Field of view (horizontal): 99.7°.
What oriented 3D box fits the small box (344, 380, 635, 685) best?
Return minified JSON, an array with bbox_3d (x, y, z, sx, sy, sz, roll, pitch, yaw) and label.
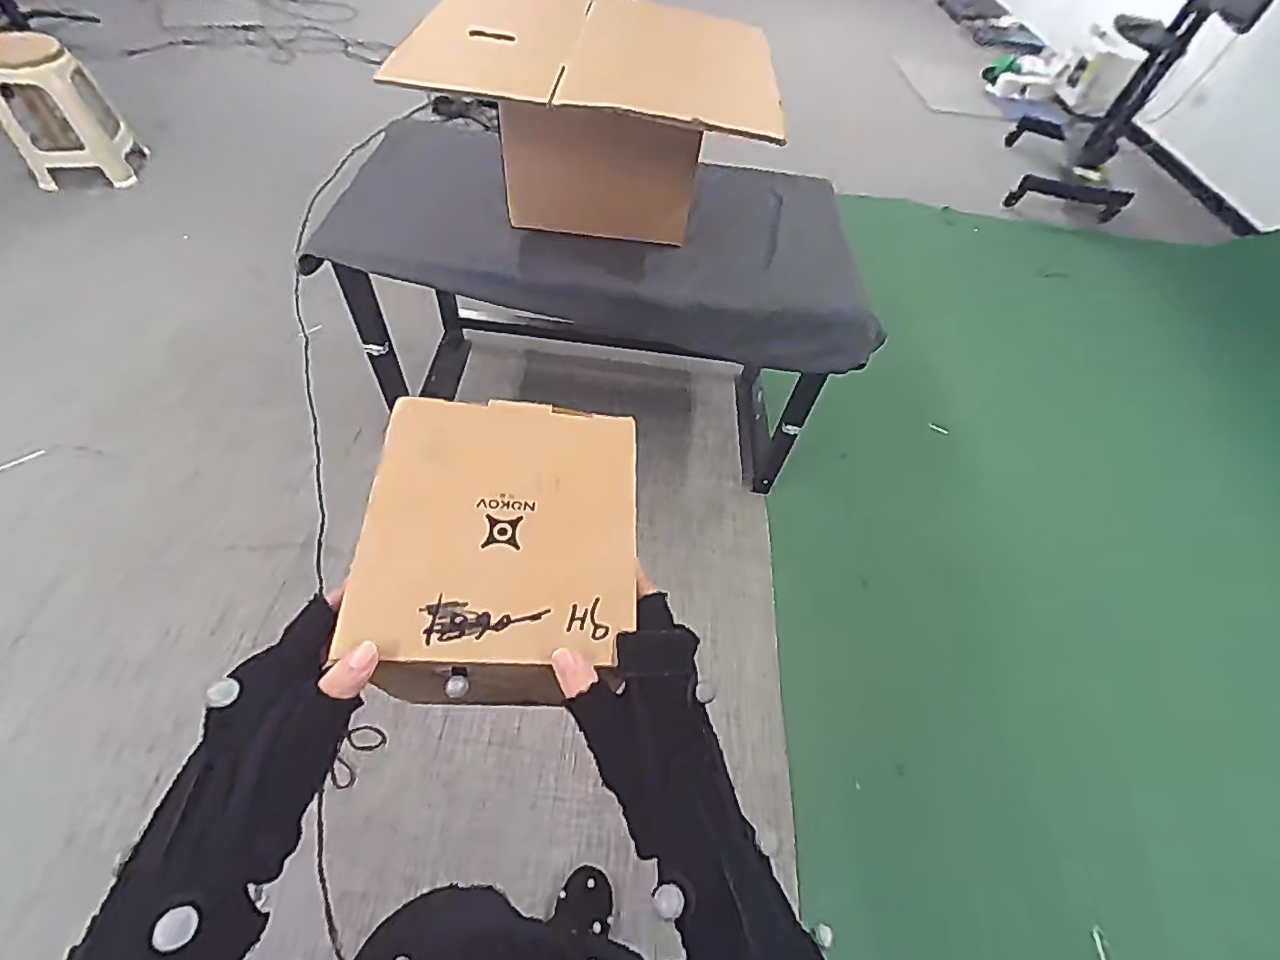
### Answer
[{"bbox_3d":[-0.097,0.050,0.418,0.168,0.176,0.179,4,59,-8],"label":"small box"}]
